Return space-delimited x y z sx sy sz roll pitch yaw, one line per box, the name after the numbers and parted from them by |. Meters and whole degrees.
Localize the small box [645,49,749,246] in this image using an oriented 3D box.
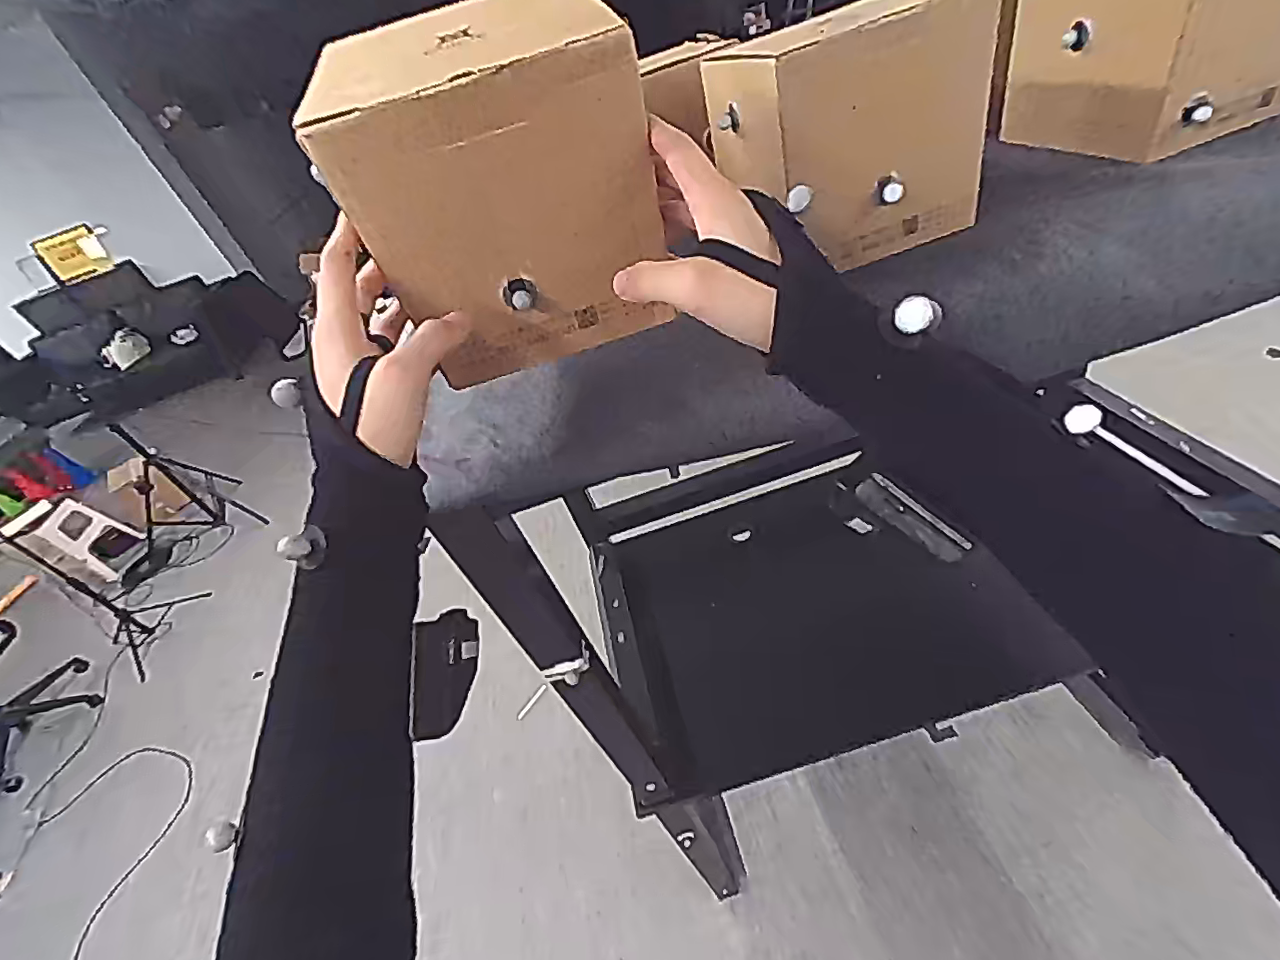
0.022 -0.391 0.653 0.179 0.176 0.168 -21 39 -2 | small box

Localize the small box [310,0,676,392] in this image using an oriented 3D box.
-0.084 -0.191 0.367 0.168 0.176 0.179 -19 52 -2 | small box

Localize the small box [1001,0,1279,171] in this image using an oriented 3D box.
0.471 -0.402 0.488 0.168 0.176 0.179 -20 39 -1 | small box
